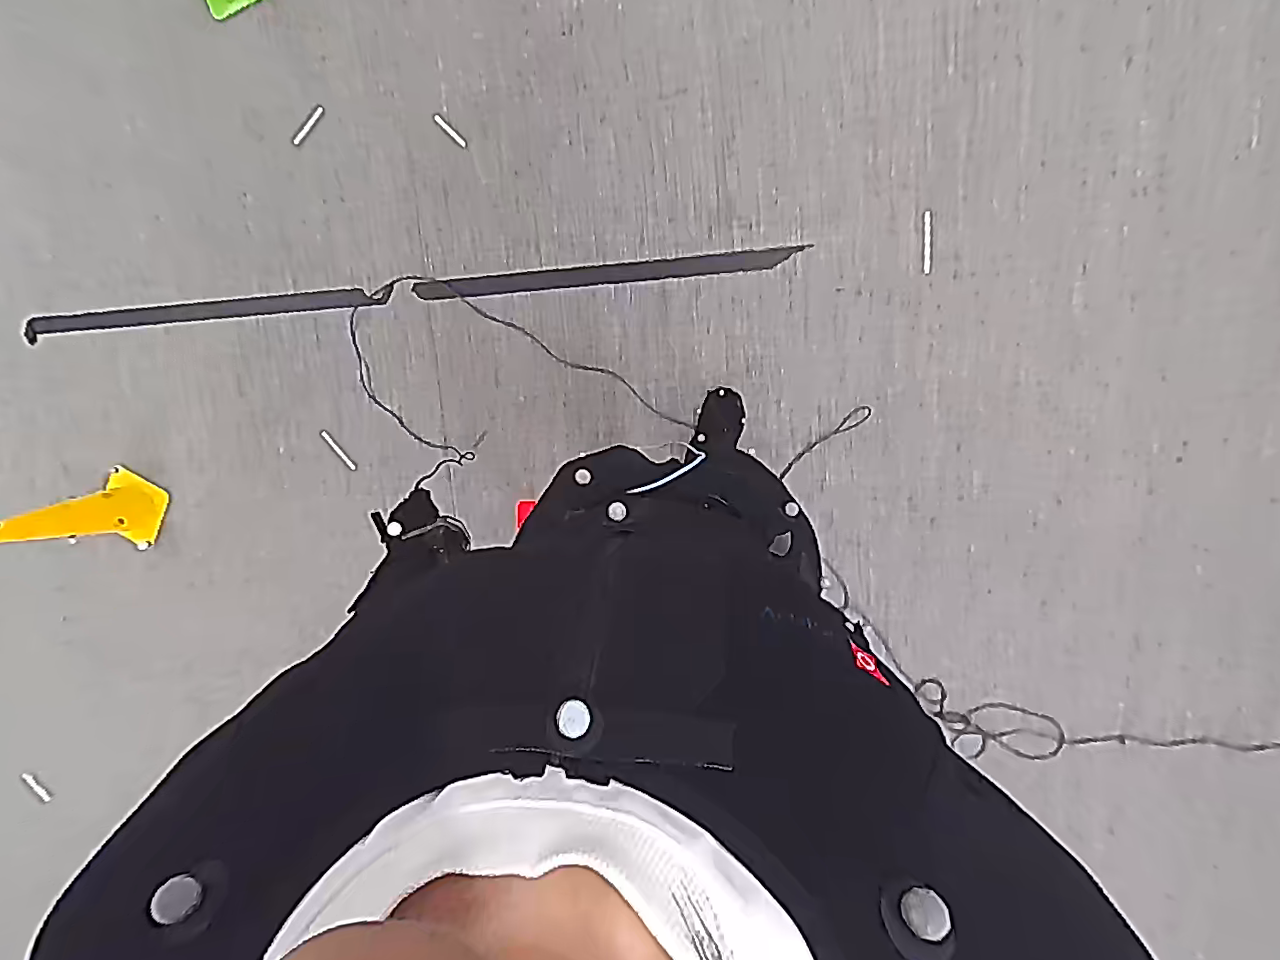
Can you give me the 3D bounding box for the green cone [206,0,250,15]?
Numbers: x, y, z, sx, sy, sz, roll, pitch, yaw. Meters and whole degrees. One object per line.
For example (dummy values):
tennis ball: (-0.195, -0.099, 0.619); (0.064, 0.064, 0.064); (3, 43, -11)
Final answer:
green cone: (-1.071, -1.305, 1.220); (0.202, 0.368, 0.200); (-19, 95, 8)
